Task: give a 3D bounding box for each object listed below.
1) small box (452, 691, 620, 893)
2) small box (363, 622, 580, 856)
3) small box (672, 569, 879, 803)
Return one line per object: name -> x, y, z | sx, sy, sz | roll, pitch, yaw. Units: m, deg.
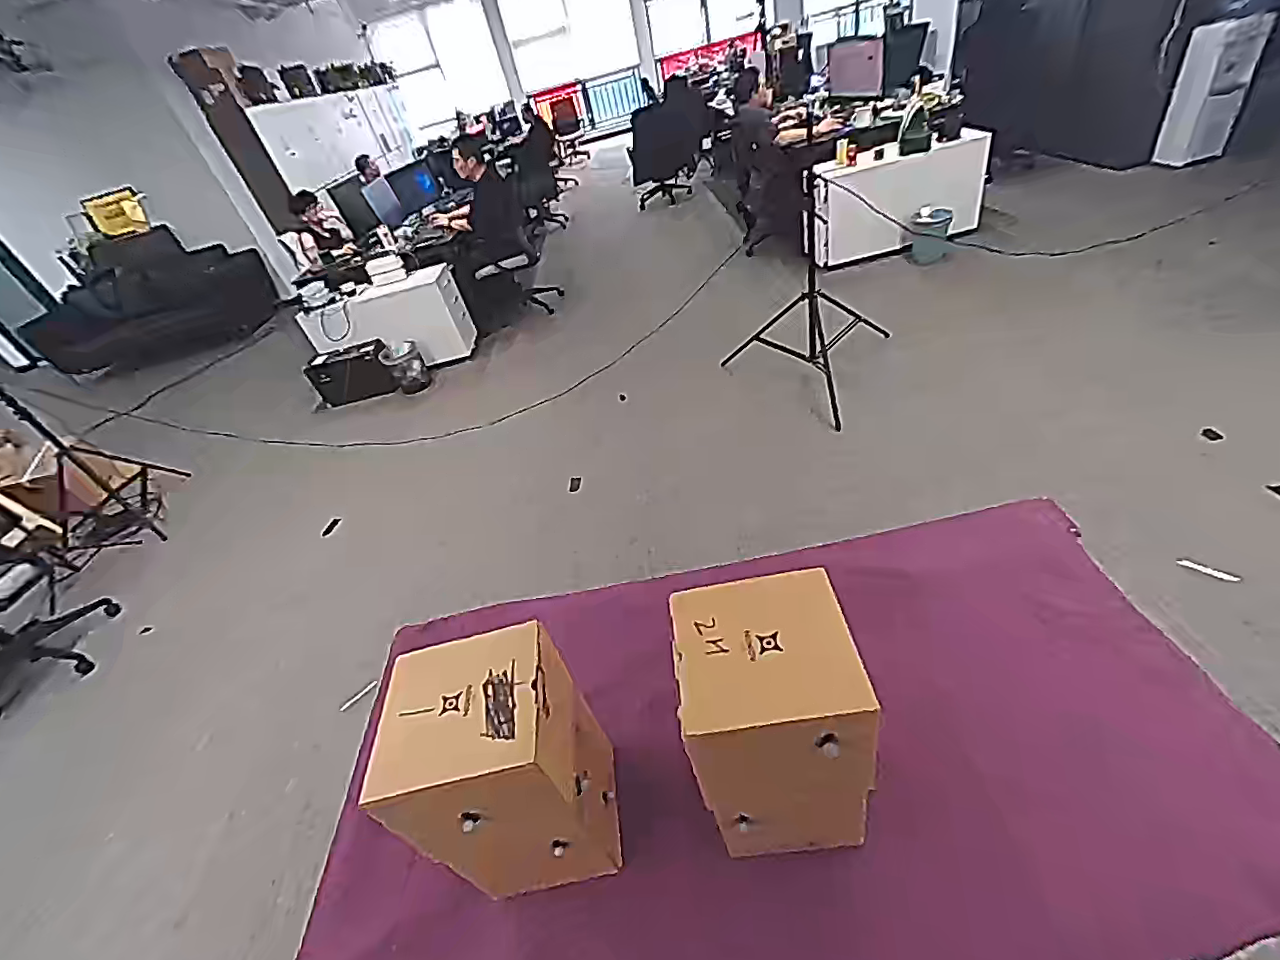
small box -> -0.137, 0.416, 0.720 | 0.179, 0.176, 0.168 | -14, 38, 2
small box -> -0.170, 0.294, 0.615 | 0.179, 0.176, 0.168 | -15, 38, 2
small box -> 0.138, 0.224, 0.586 | 0.179, 0.176, 0.168 | -11, 37, 7
